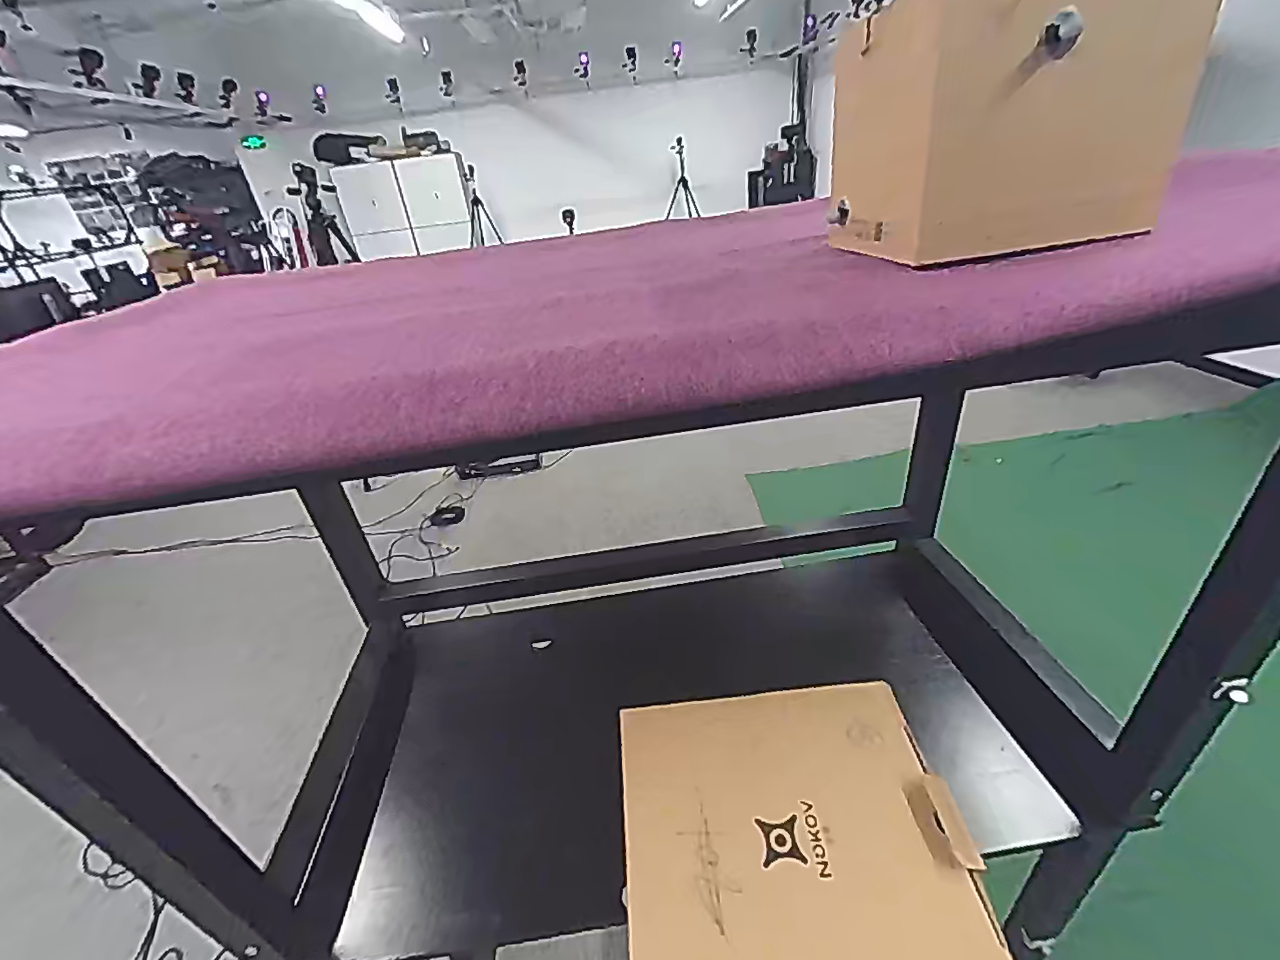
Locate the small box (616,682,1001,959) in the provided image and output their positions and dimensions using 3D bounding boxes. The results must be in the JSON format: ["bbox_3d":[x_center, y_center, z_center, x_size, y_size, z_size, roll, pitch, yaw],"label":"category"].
[{"bbox_3d":[0.084,0.254,0.341,0.179,0.176,0.168,-8,40,1],"label":"small box"}]

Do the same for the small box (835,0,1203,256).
[{"bbox_3d":[0.261,-0.274,0.410,0.179,0.176,0.168,-8,30,0],"label":"small box"}]
